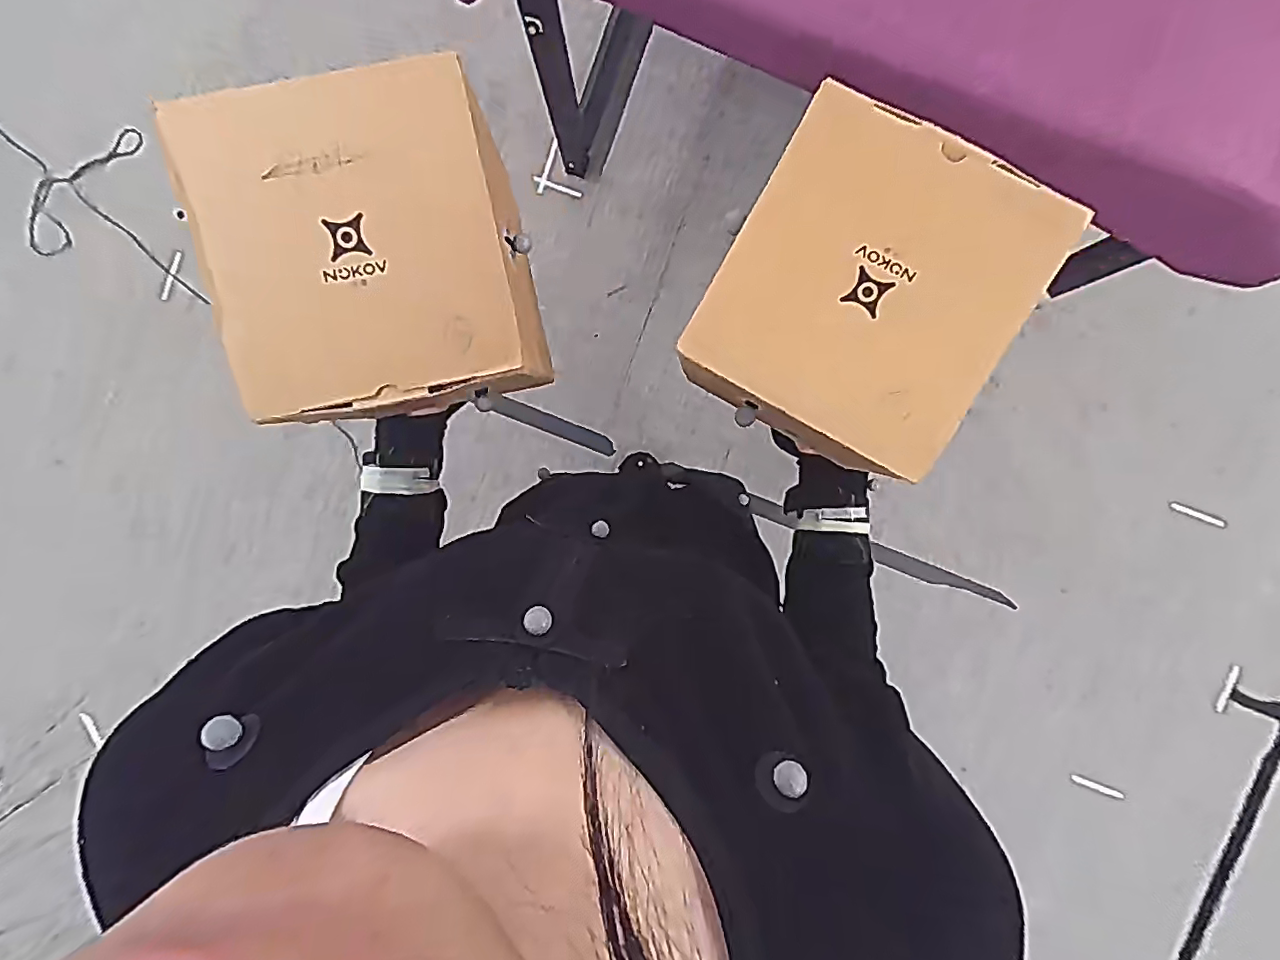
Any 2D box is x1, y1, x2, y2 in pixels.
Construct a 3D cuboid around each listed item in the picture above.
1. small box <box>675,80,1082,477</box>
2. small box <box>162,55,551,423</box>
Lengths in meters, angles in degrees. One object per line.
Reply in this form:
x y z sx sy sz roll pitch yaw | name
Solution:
0.143 -0.119 0.390 0.168 0.176 0.179 30 96 4 | small box
-0.166 -0.143 0.384 0.168 0.176 0.179 -12 98 -3 | small box
